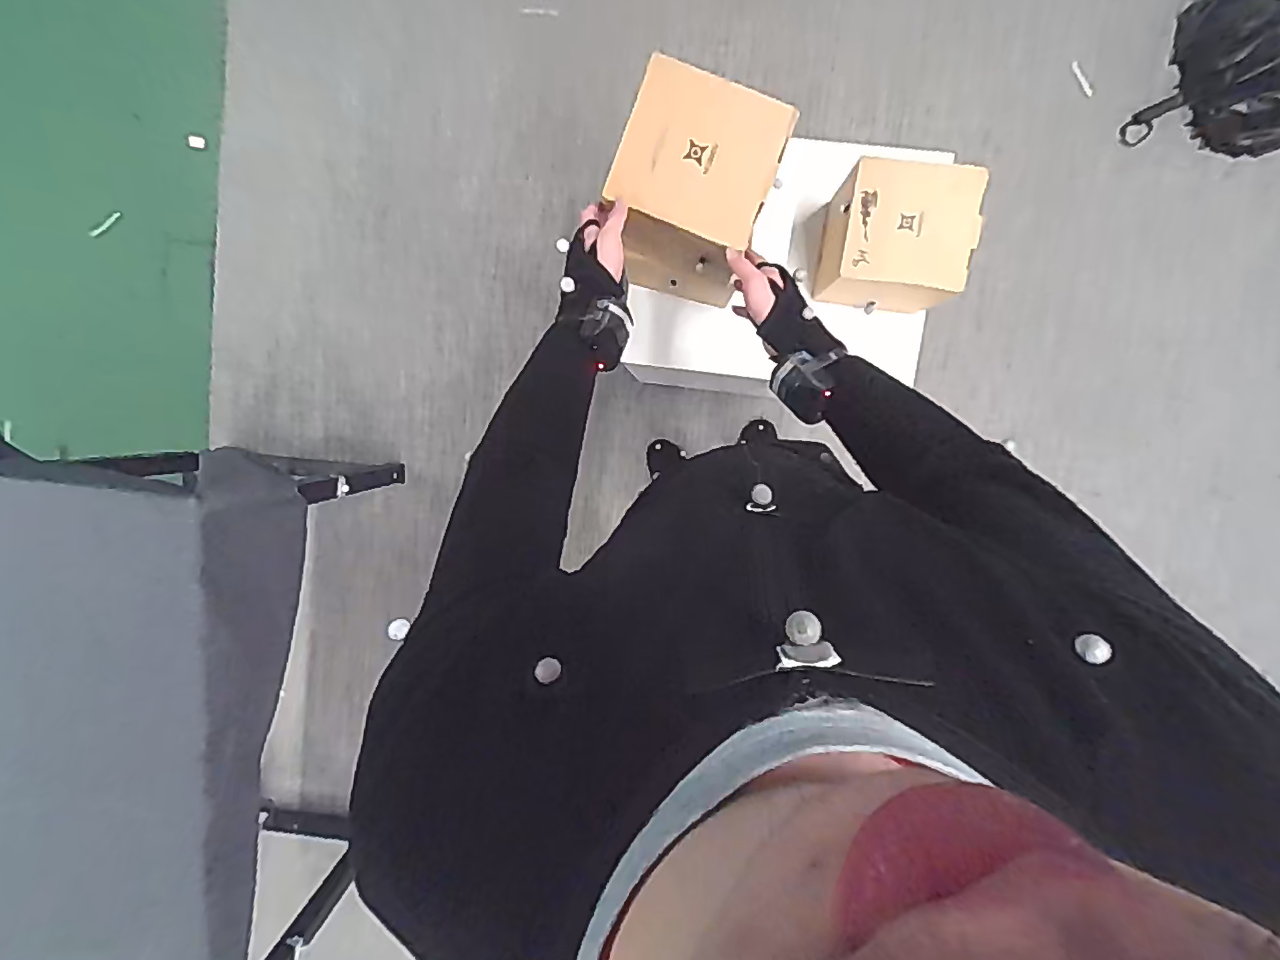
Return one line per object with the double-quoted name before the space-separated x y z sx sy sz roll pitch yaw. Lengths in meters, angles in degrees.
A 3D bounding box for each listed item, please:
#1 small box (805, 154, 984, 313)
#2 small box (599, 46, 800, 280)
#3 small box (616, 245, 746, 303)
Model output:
"small box" 0.371 -0.359 0.820 0.179 0.176 0.168 9 97 1
"small box" 0.065 -0.366 0.664 0.179 0.176 0.168 21 94 0
"small box" 0.072 -0.383 0.825 0.179 0.176 0.168 15 96 0
